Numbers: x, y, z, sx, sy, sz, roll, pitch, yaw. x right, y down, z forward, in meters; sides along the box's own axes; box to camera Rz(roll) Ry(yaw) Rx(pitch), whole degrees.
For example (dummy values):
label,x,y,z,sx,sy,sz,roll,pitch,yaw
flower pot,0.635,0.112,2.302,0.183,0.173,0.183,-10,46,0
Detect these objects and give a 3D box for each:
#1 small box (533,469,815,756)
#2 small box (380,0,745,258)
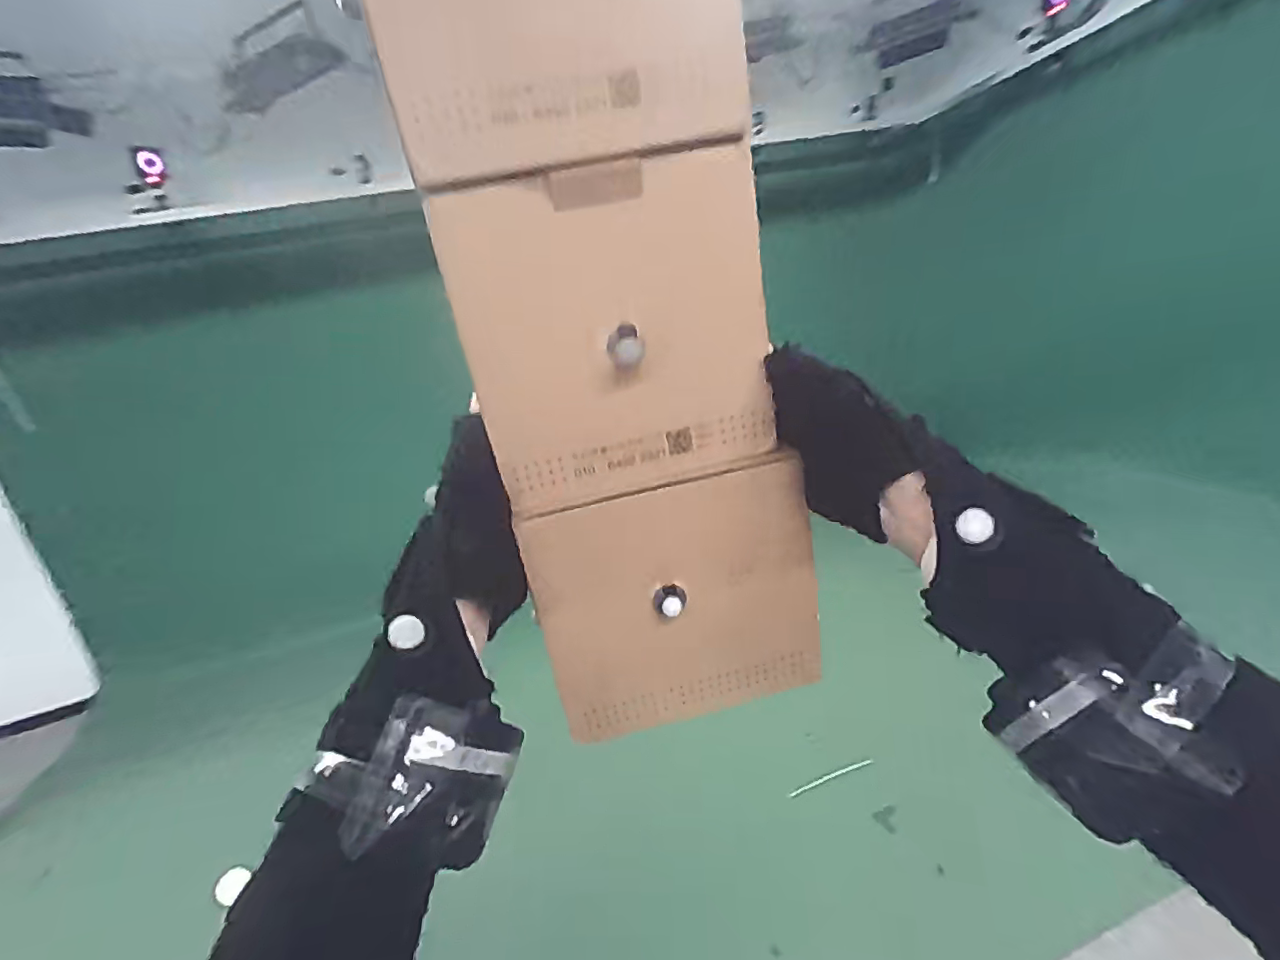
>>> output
label,x,y,z,sx,sy,sz,roll,pitch,yaw
small box,0.025,0.077,0.425,0.179,0.176,0.168,-13,18,-4
small box,-0.047,-0.243,0.324,0.168,0.176,0.179,-12,18,-7
